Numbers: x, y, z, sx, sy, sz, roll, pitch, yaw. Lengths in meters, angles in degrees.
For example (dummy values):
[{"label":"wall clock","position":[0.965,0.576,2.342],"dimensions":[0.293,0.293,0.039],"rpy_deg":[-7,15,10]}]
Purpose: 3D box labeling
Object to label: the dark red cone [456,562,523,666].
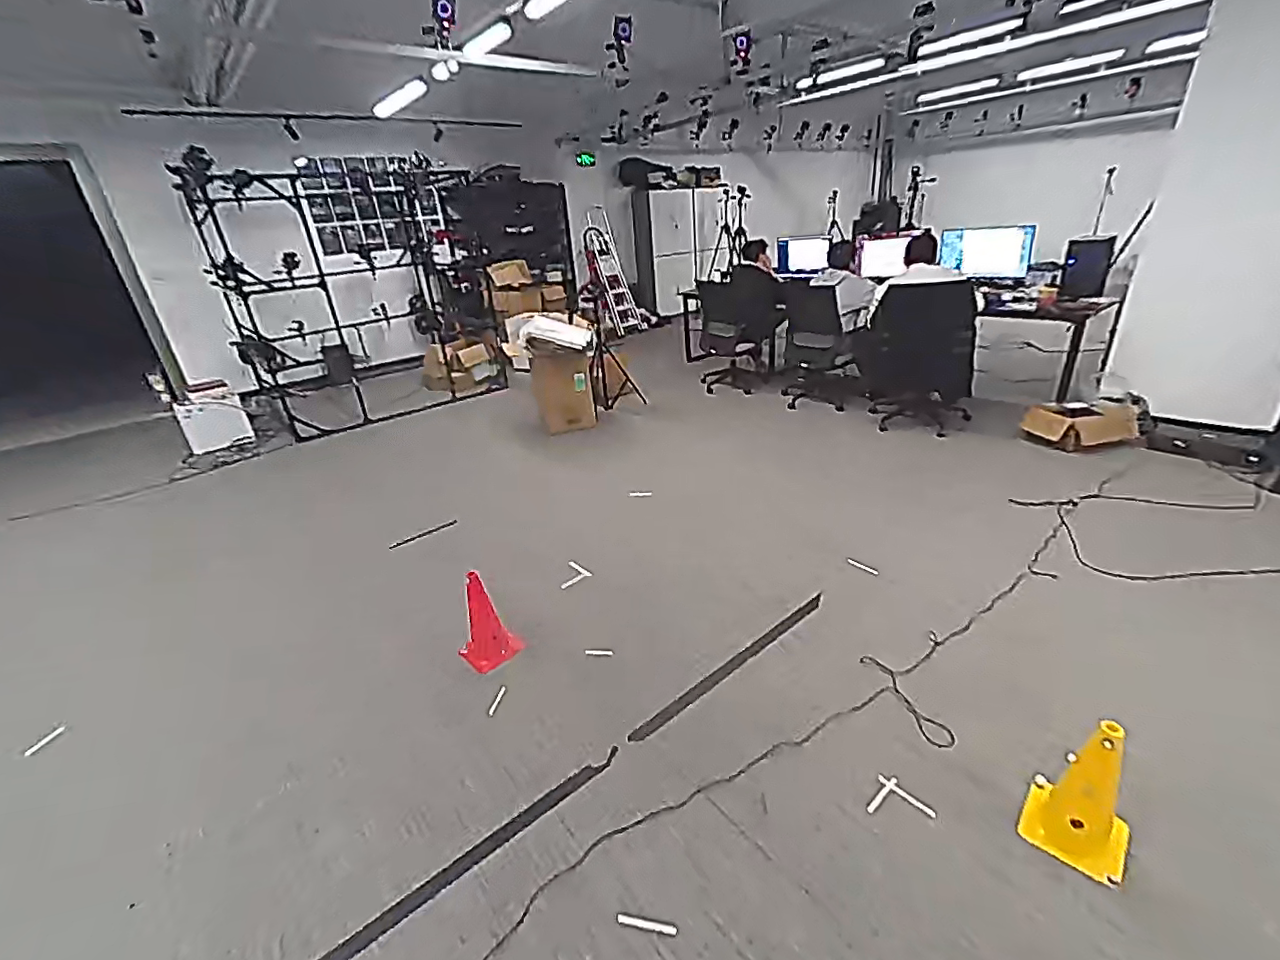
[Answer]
[{"label":"dark red cone","position":[-0.593,0.480,2.018],"dimensions":[0.201,0.394,0.202],"rpy_deg":[19,35,40]}]
